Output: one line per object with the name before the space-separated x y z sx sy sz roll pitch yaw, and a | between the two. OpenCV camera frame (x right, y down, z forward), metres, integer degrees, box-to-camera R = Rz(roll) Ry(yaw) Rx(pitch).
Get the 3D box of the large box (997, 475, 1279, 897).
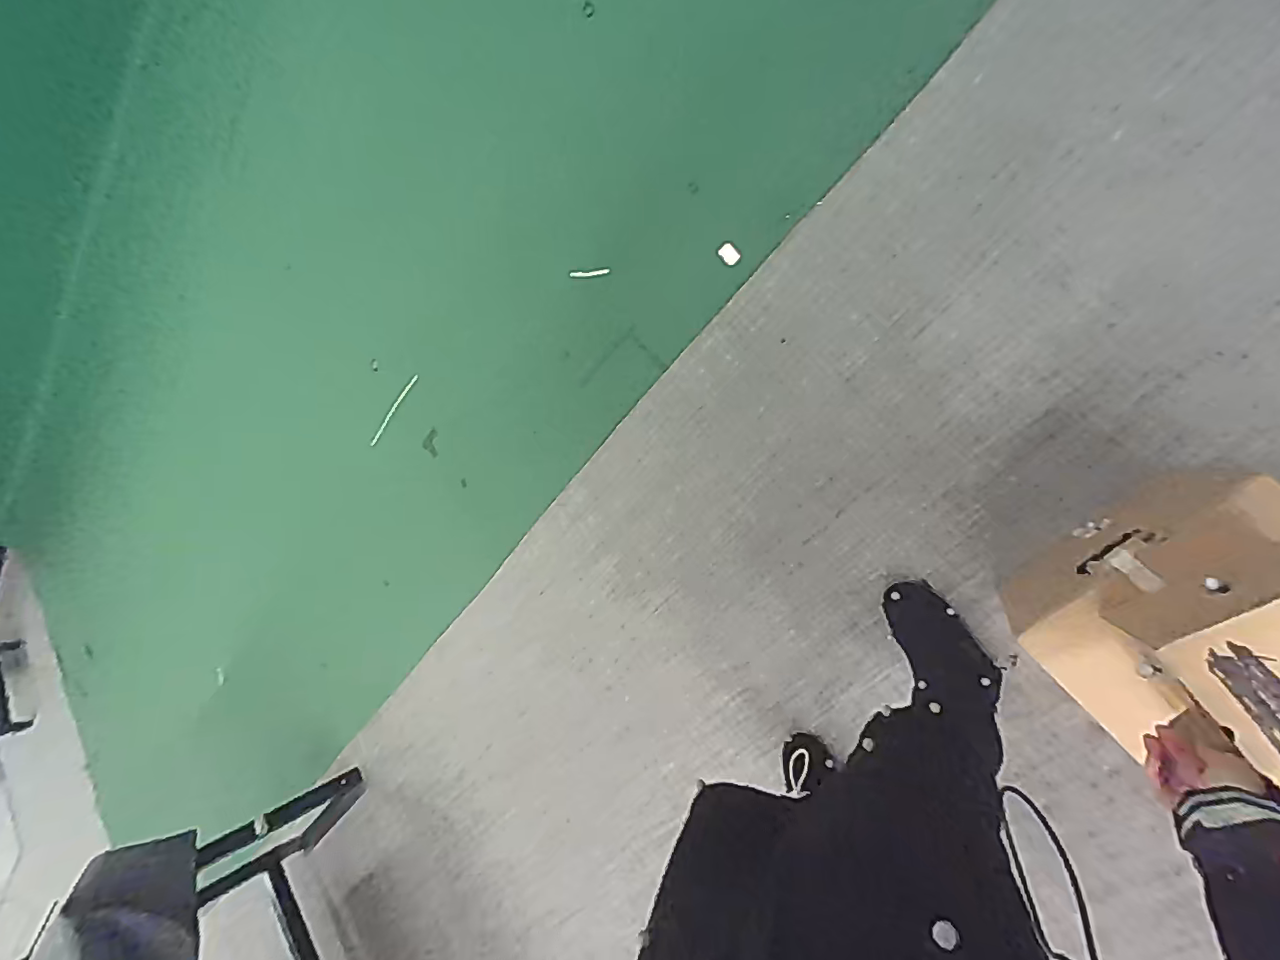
large box | 0.768 0.238 0.703 0.320 0.320 0.408 -48 70 22
